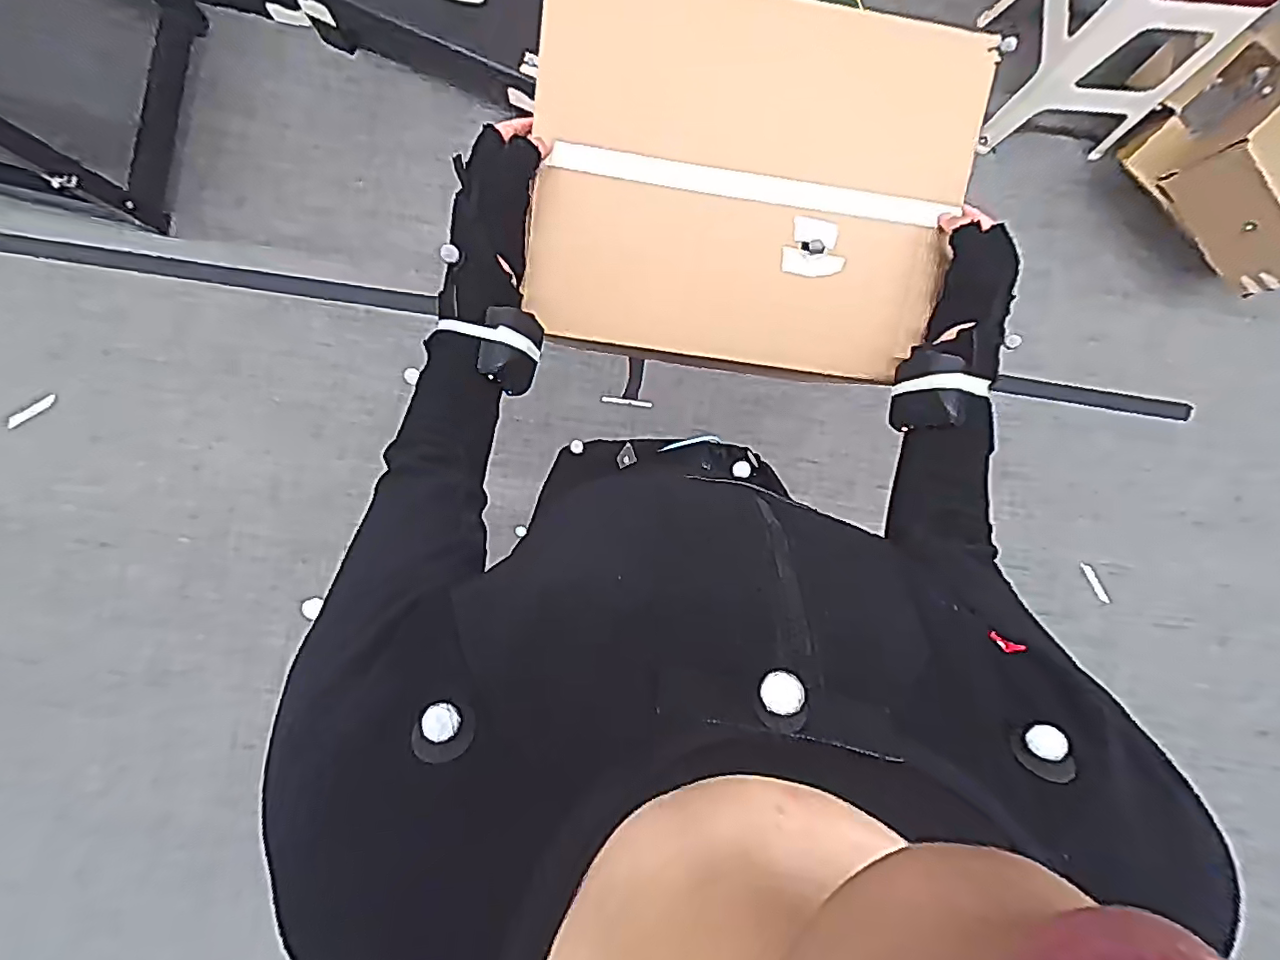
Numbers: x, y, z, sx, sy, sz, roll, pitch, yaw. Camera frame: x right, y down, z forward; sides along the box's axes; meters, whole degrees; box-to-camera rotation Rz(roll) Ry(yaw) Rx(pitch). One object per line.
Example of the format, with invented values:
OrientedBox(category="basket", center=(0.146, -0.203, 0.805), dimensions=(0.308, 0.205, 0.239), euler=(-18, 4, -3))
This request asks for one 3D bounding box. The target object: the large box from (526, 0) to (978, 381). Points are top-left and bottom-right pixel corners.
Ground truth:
OrientedBox(category="large box", center=(0.091, -0.302, 0.661), dimensions=(0.408, 0.320, 0.320), euler=(7, 102, -5))
